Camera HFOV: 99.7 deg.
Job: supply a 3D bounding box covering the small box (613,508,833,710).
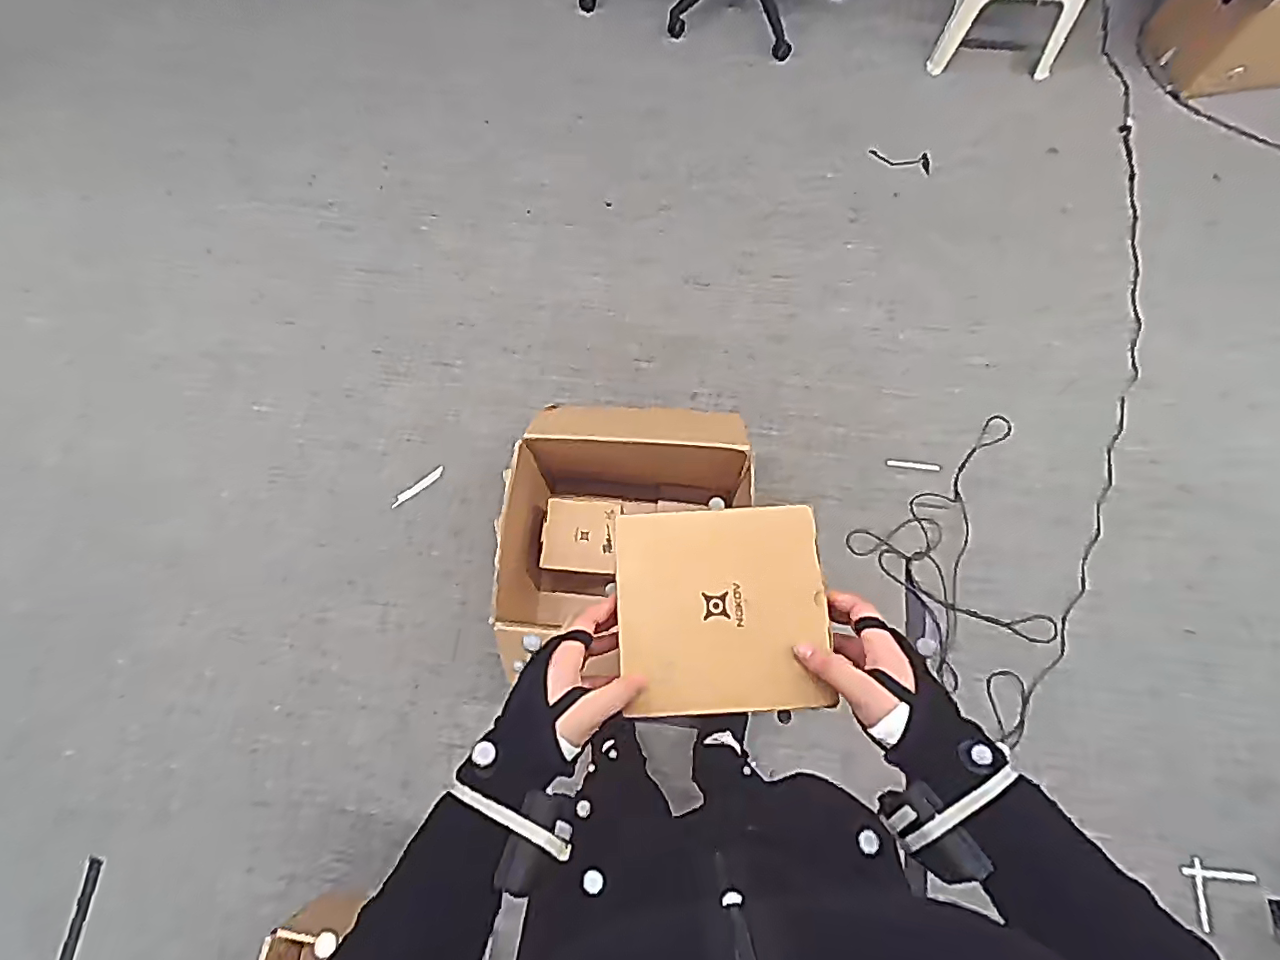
[{"bbox_3d":[0.068,0.129,0.536,0.179,0.176,0.168,-3,74,-1],"label":"small box"}]
